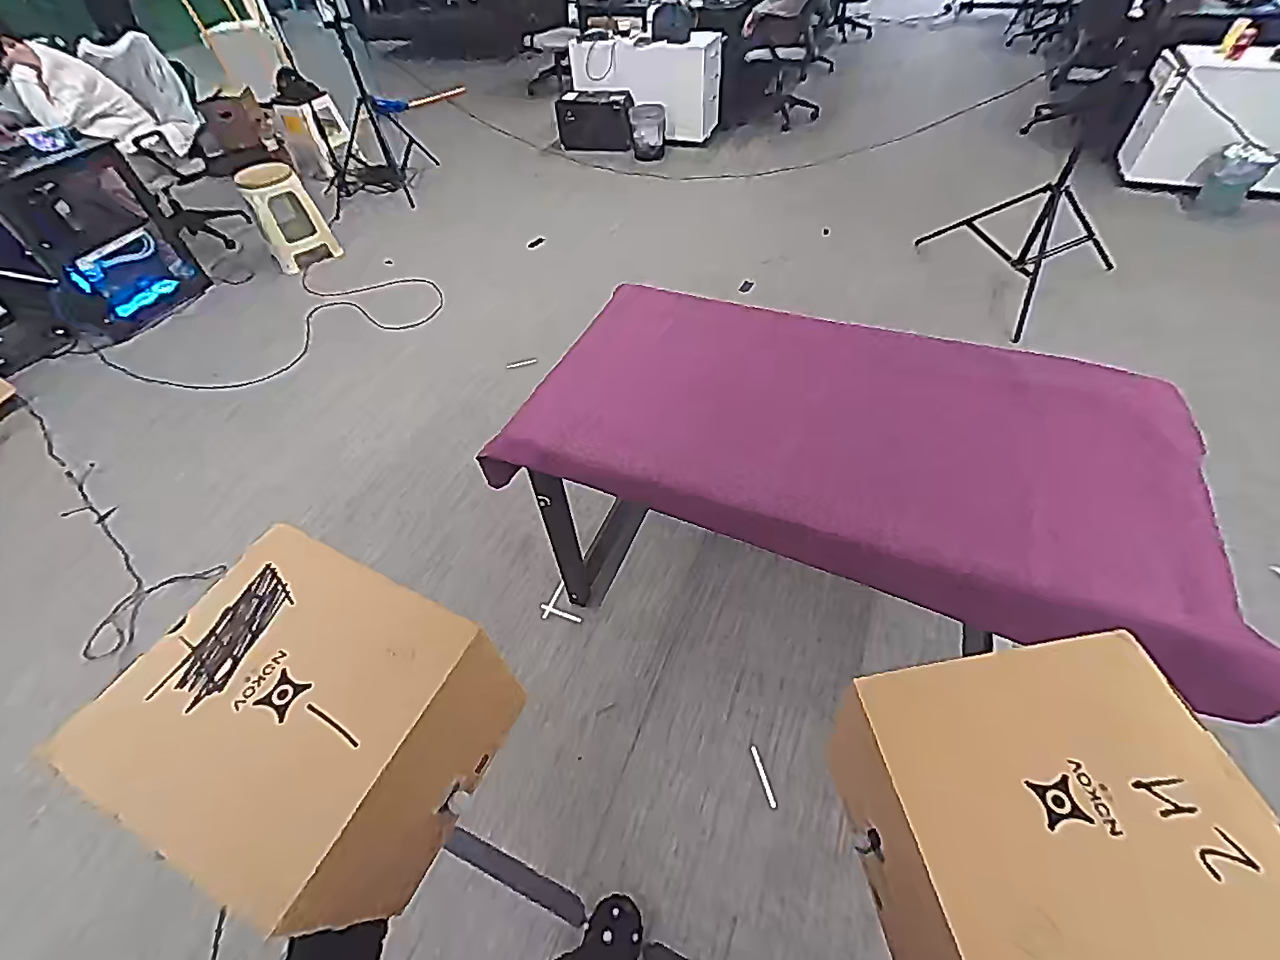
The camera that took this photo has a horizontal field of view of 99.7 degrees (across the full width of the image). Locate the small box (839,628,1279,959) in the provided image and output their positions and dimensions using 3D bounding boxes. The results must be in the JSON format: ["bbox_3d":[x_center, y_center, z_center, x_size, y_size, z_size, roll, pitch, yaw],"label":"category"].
[{"bbox_3d":[0.242,0.220,0.349,0.179,0.176,0.168,-11,49,1],"label":"small box"}]

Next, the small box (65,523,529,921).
[{"bbox_3d":[-0.202,0.164,0.378,0.179,0.176,0.168,22,58,15],"label":"small box"}]
